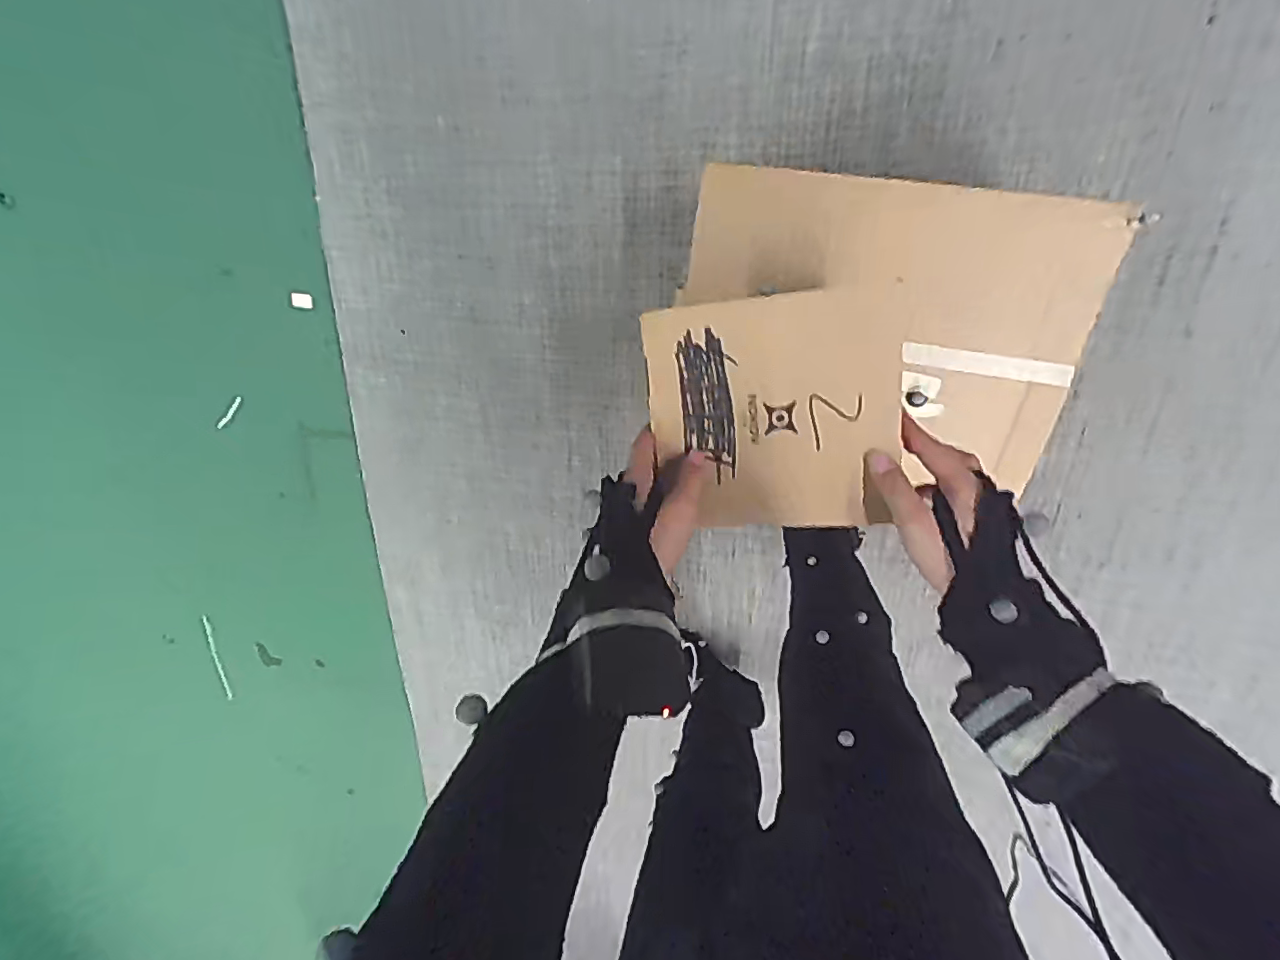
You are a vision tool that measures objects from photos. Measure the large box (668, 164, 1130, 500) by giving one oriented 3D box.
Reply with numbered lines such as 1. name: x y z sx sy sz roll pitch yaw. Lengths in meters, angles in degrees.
1. large box: 0.275 -0.203 0.718 0.408 0.320 0.320 12 114 11
